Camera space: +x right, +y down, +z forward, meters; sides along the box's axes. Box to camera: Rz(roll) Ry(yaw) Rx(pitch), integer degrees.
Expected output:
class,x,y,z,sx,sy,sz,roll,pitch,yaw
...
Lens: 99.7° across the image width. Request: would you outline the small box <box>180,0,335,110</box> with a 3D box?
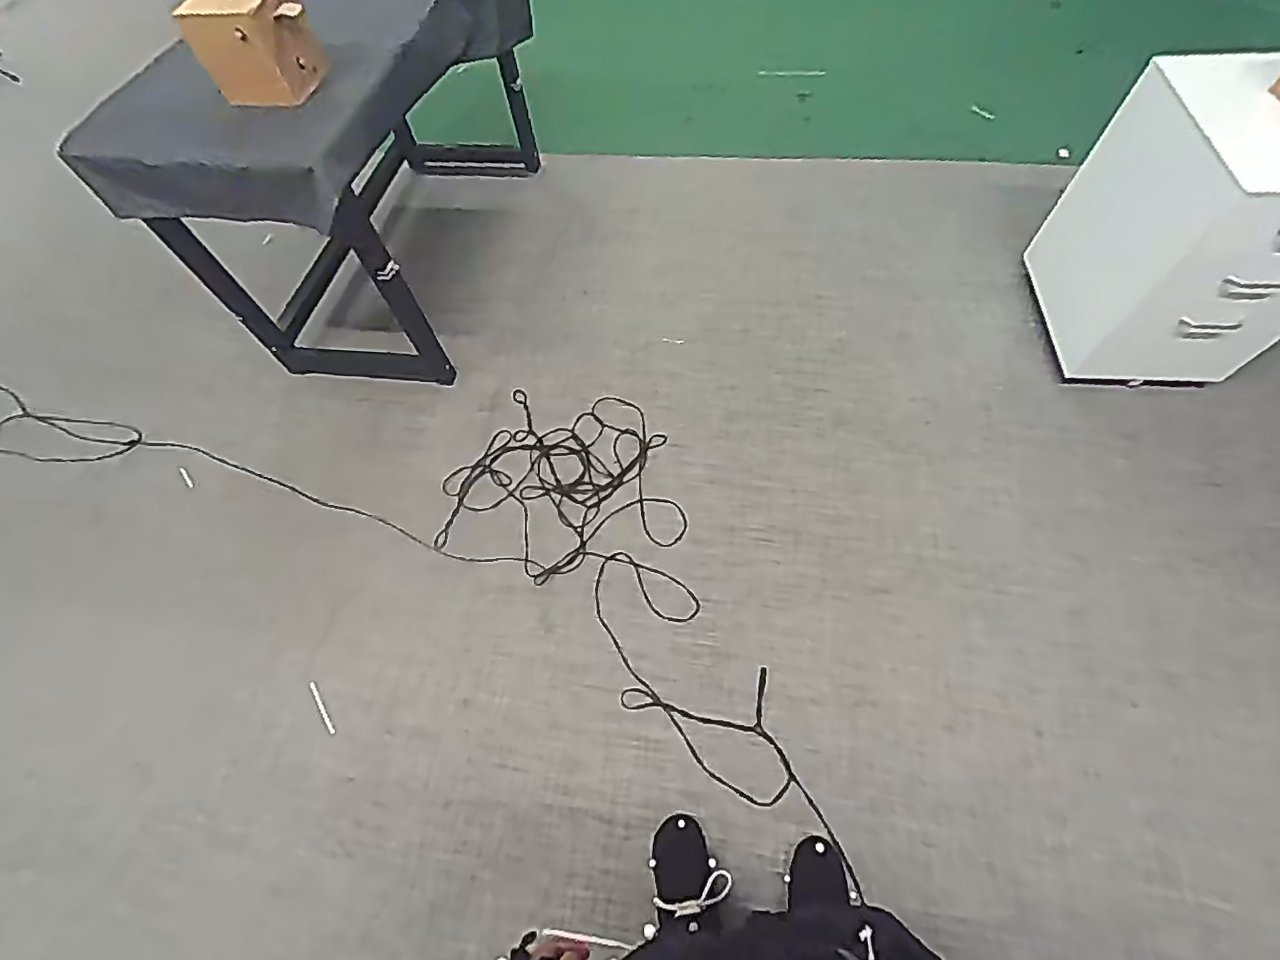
class,x,y,z,sx,sy,sz,roll,pitch,yaw
small box,-0.810,-0.928,1.165,0.179,0.176,0.168,5,61,7
